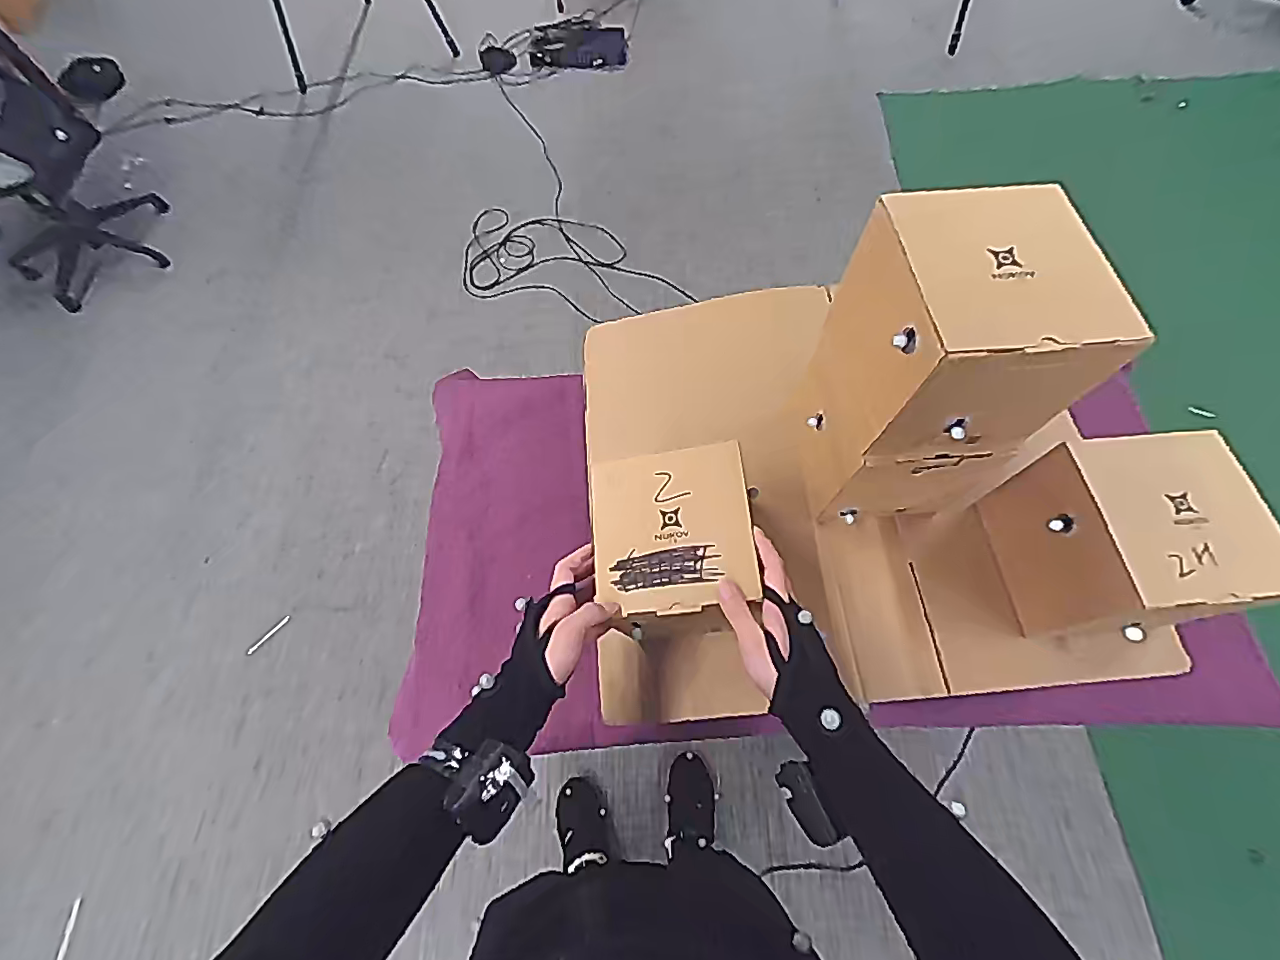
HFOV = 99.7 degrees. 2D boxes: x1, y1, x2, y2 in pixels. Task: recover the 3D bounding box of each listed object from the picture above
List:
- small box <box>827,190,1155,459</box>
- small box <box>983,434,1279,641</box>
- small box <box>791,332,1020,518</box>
[{"bbox_3d":[0.295,-0.138,0.506,0.168,0.176,0.179,-5,66,-4],"label":"small box"},{"bbox_3d":[0.520,0.069,0.590,0.168,0.176,0.179,-4,65,-2],"label":"small box"},{"bbox_3d":[0.296,-0.061,0.649,0.168,0.176,0.179,-4,64,-3],"label":"small box"}]
